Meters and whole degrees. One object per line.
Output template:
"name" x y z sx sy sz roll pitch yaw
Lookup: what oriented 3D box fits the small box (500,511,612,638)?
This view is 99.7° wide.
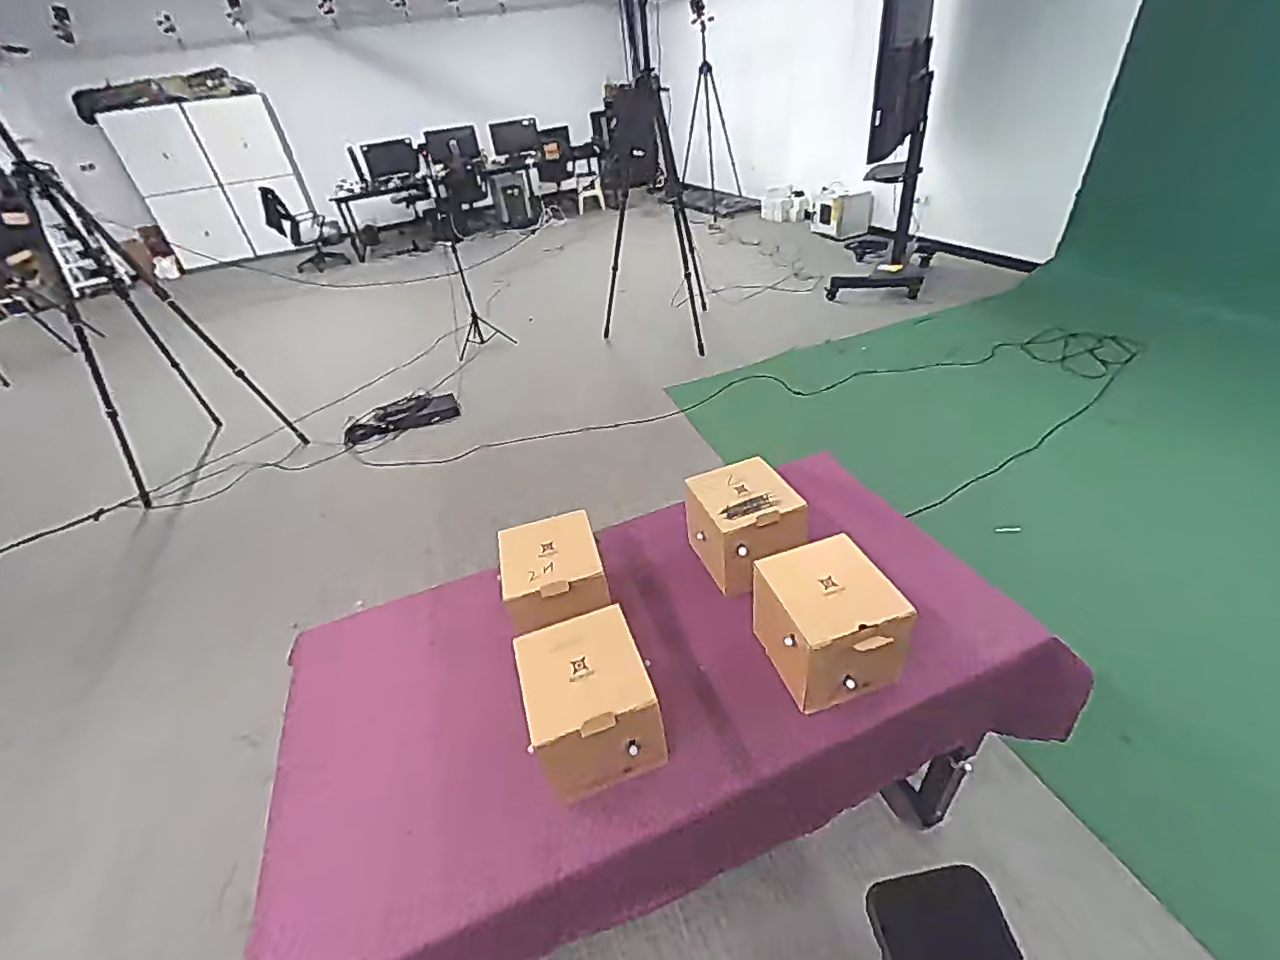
"small box" -0.148 0.188 0.976 0.168 0.176 0.179 -15 38 -7

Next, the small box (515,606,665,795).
"small box" -0.071 0.322 0.784 0.168 0.176 0.179 -16 36 -11

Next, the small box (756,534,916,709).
"small box" 0.290 0.219 0.846 0.168 0.176 0.179 -16 38 -9
